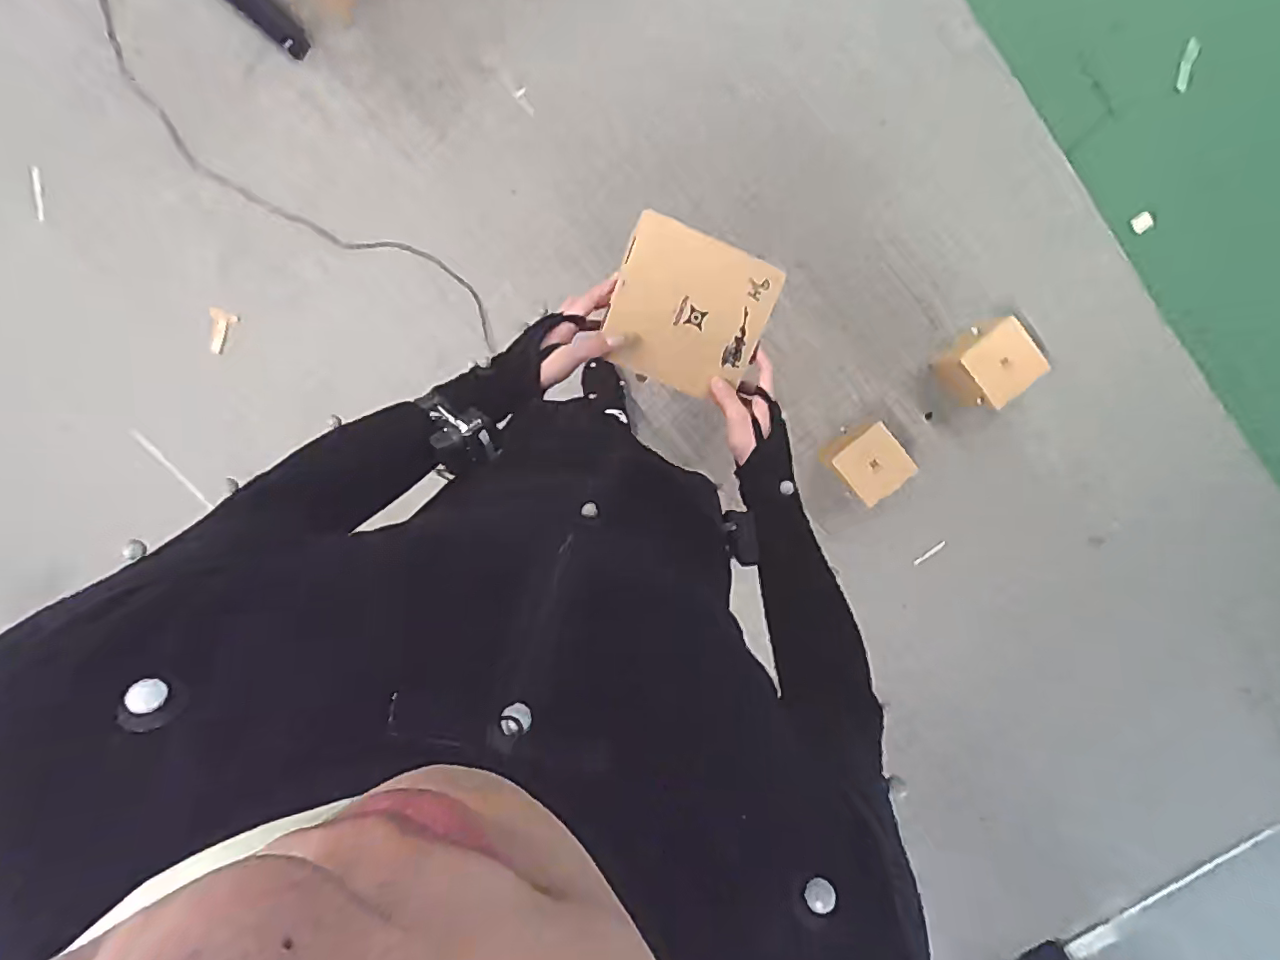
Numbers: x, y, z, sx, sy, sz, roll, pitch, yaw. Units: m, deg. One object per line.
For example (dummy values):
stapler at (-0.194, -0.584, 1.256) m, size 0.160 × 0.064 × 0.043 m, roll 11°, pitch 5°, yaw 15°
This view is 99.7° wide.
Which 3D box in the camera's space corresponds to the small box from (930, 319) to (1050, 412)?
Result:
small box at (0.921, -0.301, 1.440) m, size 0.168 × 0.176 × 0.179 m, roll -40°, pitch 98°, yaw 8°

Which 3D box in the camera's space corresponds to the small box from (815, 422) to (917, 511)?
small box at (0.619, -0.045, 1.499) m, size 0.168 × 0.176 × 0.179 m, roll -40°, pitch 97°, yaw 8°
